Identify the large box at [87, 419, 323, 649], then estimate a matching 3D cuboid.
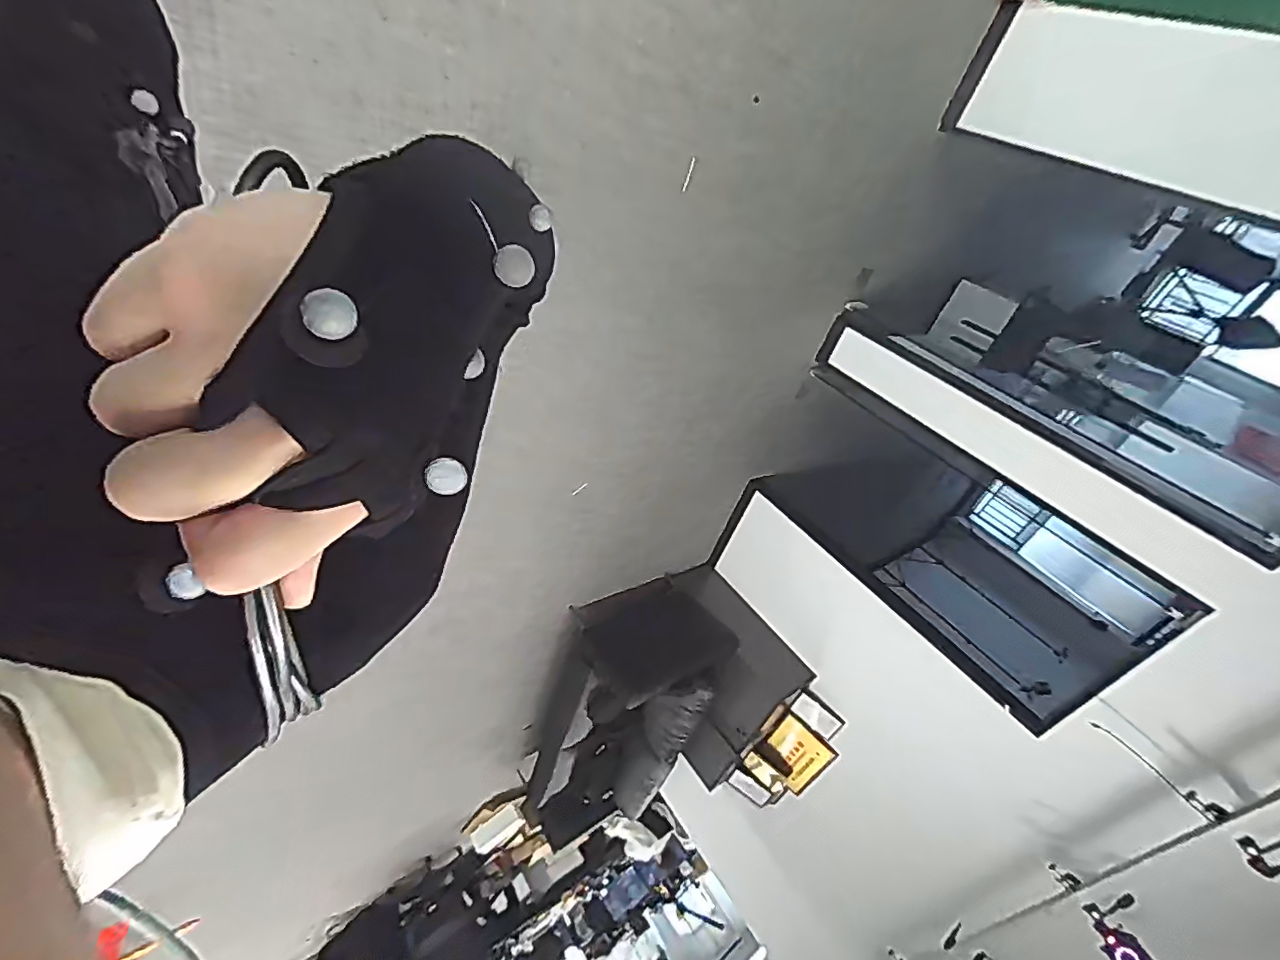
[{"bbox_3d":[-1.032,0.124,1.316,0.320,0.320,0.408,-22,142,-32],"label":"large box"}]
